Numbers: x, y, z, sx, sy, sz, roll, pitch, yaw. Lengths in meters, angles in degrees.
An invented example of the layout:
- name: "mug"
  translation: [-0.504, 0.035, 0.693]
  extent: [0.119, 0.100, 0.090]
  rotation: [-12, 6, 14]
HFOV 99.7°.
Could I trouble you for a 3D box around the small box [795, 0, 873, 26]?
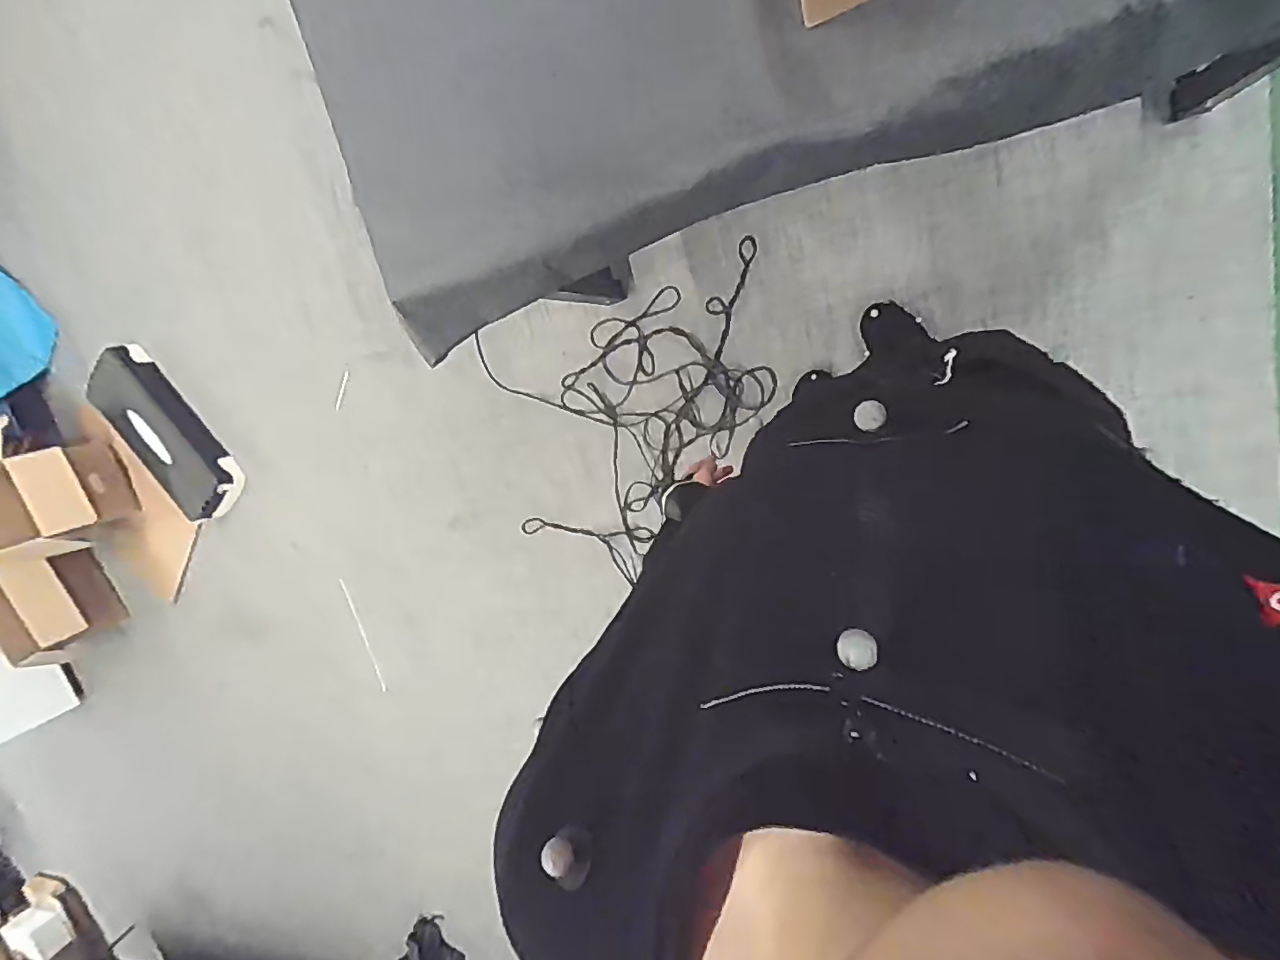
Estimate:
- name: "small box"
  translation: [0.185, -0.490, 0.388]
  extent: [0.179, 0.176, 0.168]
  rotation: [-11, 99, 23]
